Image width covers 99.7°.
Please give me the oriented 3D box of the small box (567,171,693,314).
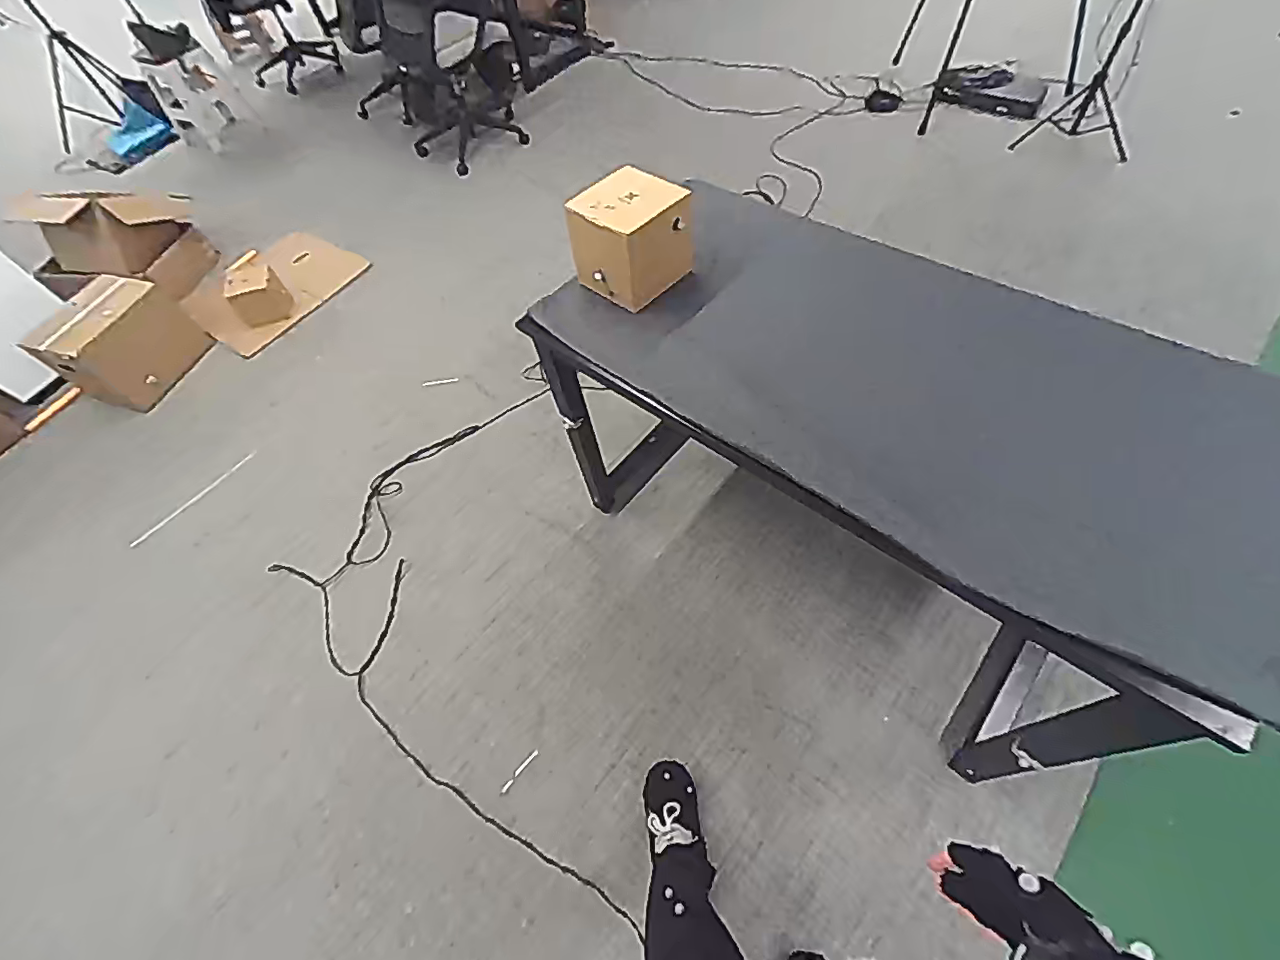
[{"bbox_3d":[-0.015,-0.462,1.059,0.168,0.176,0.179,36,67,26],"label":"small box"}]
